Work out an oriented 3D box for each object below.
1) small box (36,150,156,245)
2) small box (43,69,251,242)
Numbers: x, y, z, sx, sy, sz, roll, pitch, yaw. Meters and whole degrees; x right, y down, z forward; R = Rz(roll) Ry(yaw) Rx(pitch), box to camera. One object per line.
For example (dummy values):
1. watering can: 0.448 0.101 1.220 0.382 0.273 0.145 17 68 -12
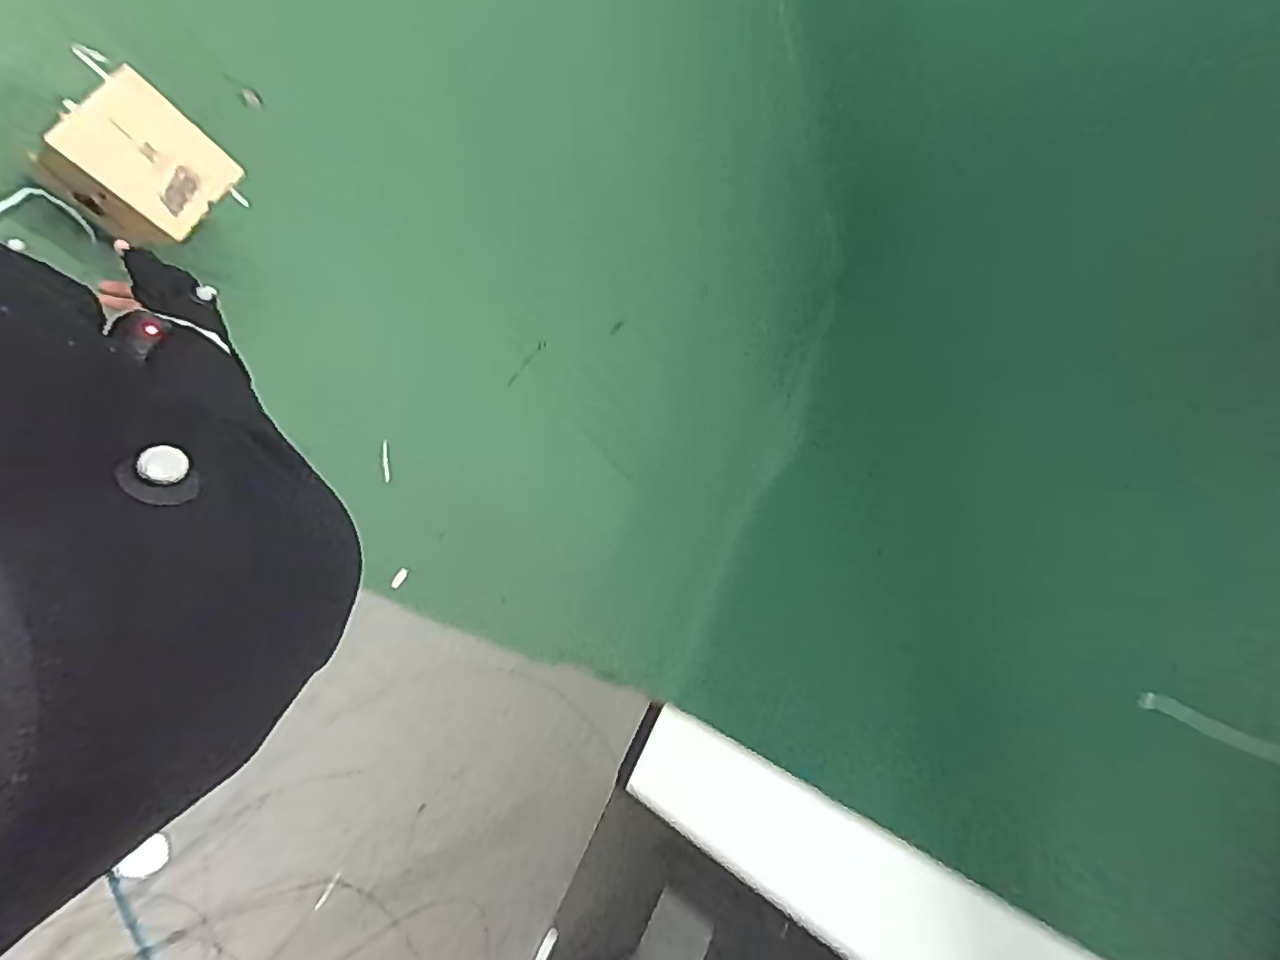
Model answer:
1. small box: -0.927 -0.551 0.974 0.179 0.176 0.168 -61 140 -16
2. small box: -0.796 -0.513 0.878 0.168 0.176 0.179 -60 141 -19
